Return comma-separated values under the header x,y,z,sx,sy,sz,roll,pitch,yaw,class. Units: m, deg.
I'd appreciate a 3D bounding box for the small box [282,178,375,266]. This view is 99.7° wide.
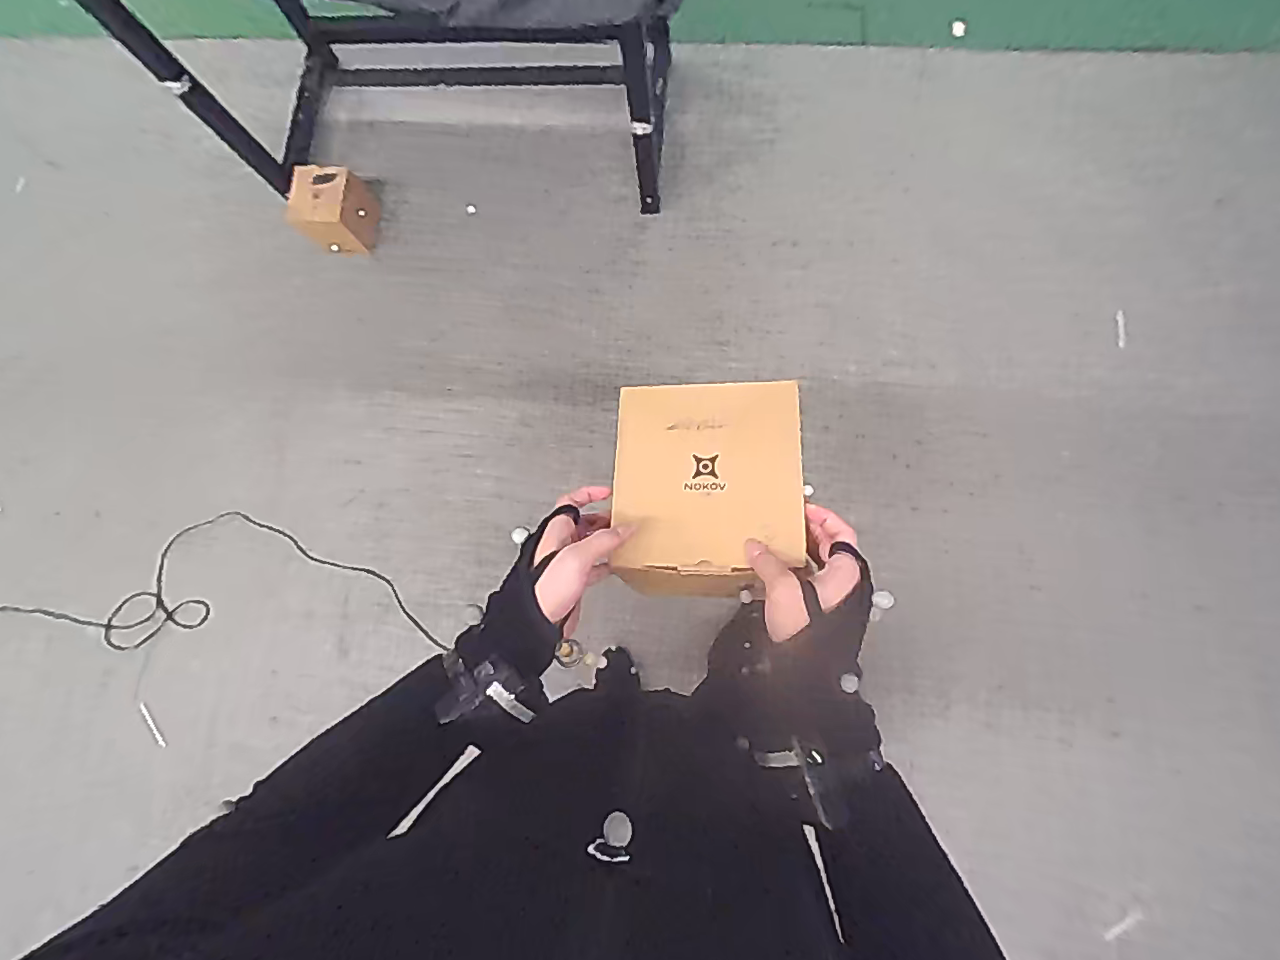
x,y,z,sx,sy,sz,roll,pitch,yaw,class
-0.919,-0.766,1.614,0.168,0.176,0.179,3,80,6,small box
